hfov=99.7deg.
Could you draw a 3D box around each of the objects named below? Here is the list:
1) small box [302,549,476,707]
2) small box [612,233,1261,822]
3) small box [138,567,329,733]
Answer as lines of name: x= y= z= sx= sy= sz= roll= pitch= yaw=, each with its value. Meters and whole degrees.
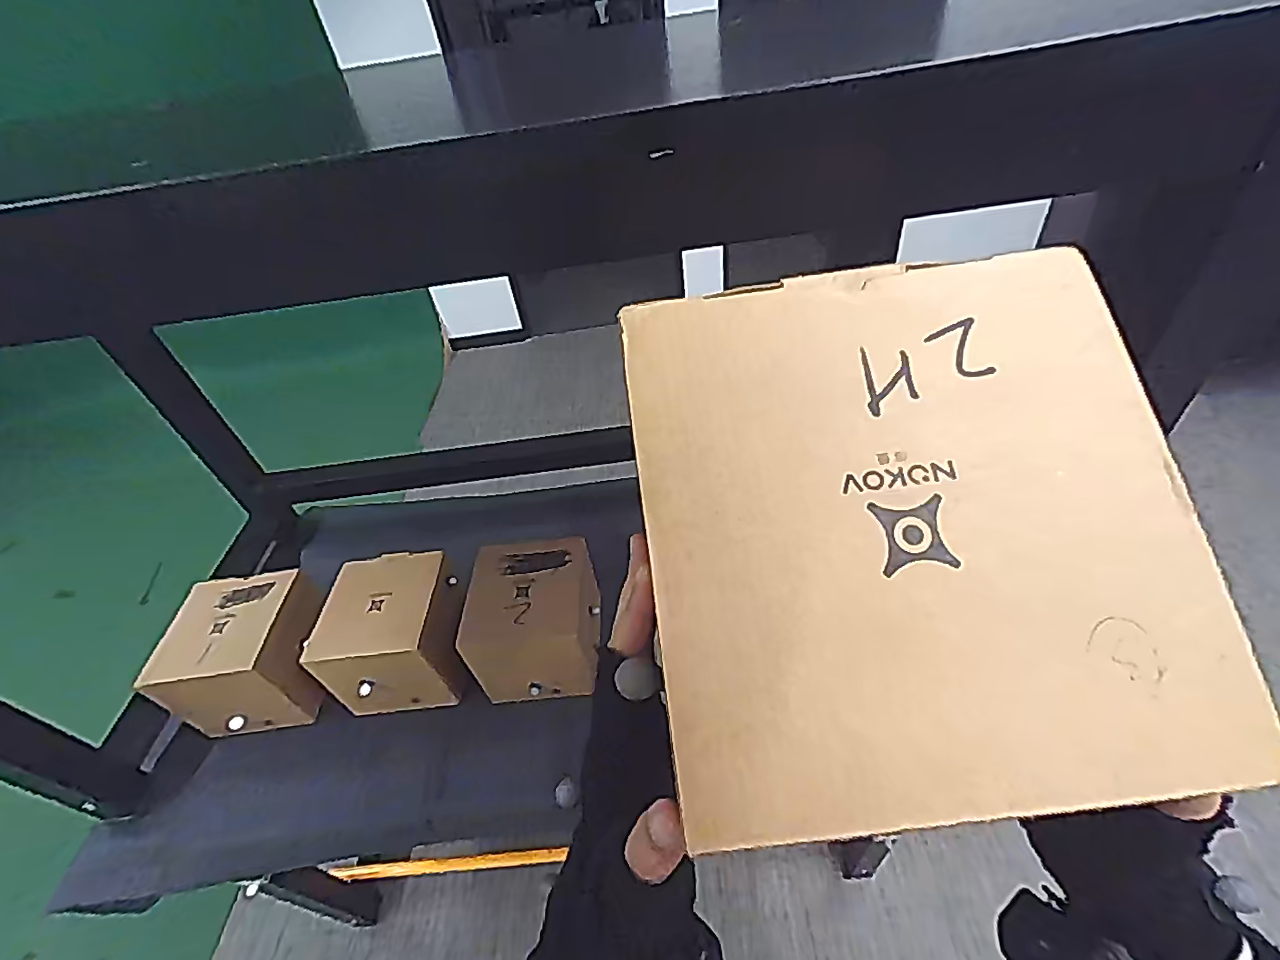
small box: x=-0.368 y=0.233 z=0.835 sx=0.168 sy=0.176 sz=0.179 roll=-7 pitch=41 yaw=2
small box: x=0.083 y=0.026 z=0.248 sx=0.168 sy=0.176 sz=0.179 roll=-7 pitch=73 yaw=1
small box: x=-0.593 y=0.262 z=0.839 sx=0.168 sy=0.176 sz=0.179 roll=-9 pitch=42 yaw=1
